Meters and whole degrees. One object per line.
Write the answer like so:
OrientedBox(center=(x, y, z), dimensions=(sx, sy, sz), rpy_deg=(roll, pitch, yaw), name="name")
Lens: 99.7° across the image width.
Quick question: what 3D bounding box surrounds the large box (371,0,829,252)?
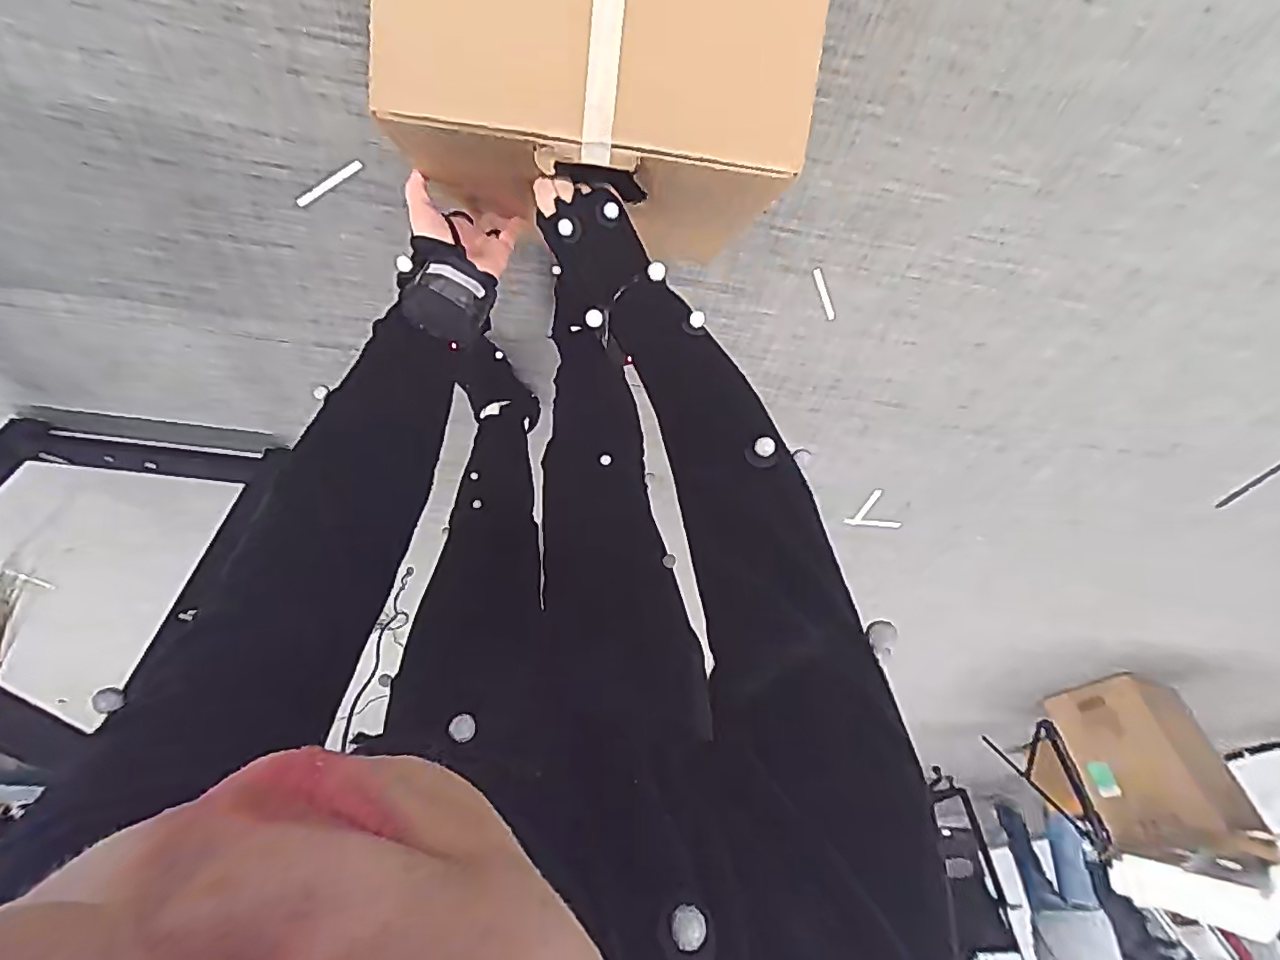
OrientedBox(center=(-0.022, -0.464, 0.493), dimensions=(0.320, 0.320, 0.408), rpy_deg=(5, 100, -6), name="large box")
